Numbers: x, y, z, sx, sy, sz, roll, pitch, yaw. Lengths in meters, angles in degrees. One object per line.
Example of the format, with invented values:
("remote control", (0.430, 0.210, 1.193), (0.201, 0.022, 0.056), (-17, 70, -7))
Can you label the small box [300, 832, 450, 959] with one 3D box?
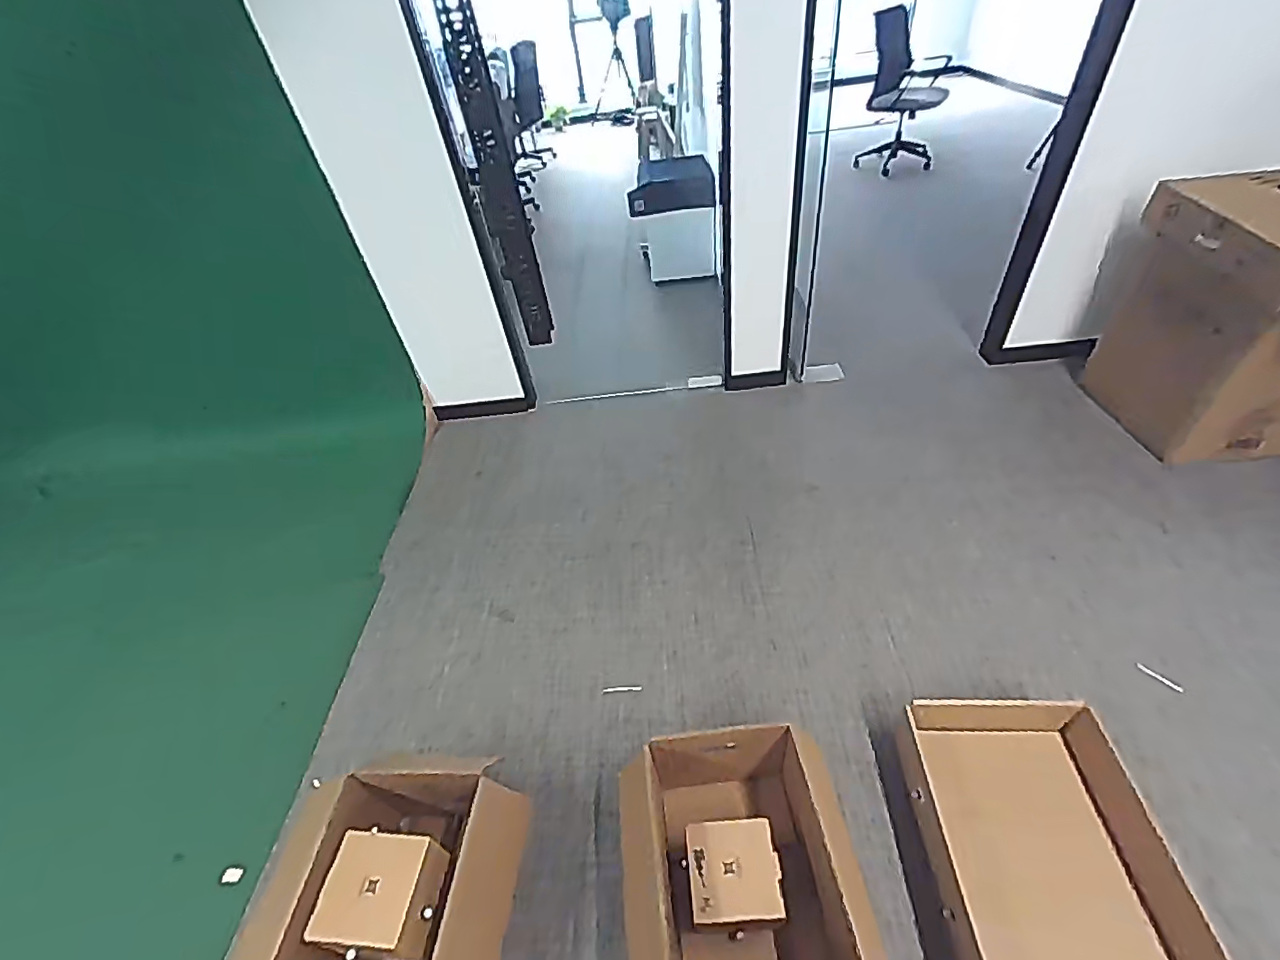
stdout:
("small box", (-0.487, 0.794, 1.031), (0.179, 0.176, 0.168), (-1, 43, 7))
